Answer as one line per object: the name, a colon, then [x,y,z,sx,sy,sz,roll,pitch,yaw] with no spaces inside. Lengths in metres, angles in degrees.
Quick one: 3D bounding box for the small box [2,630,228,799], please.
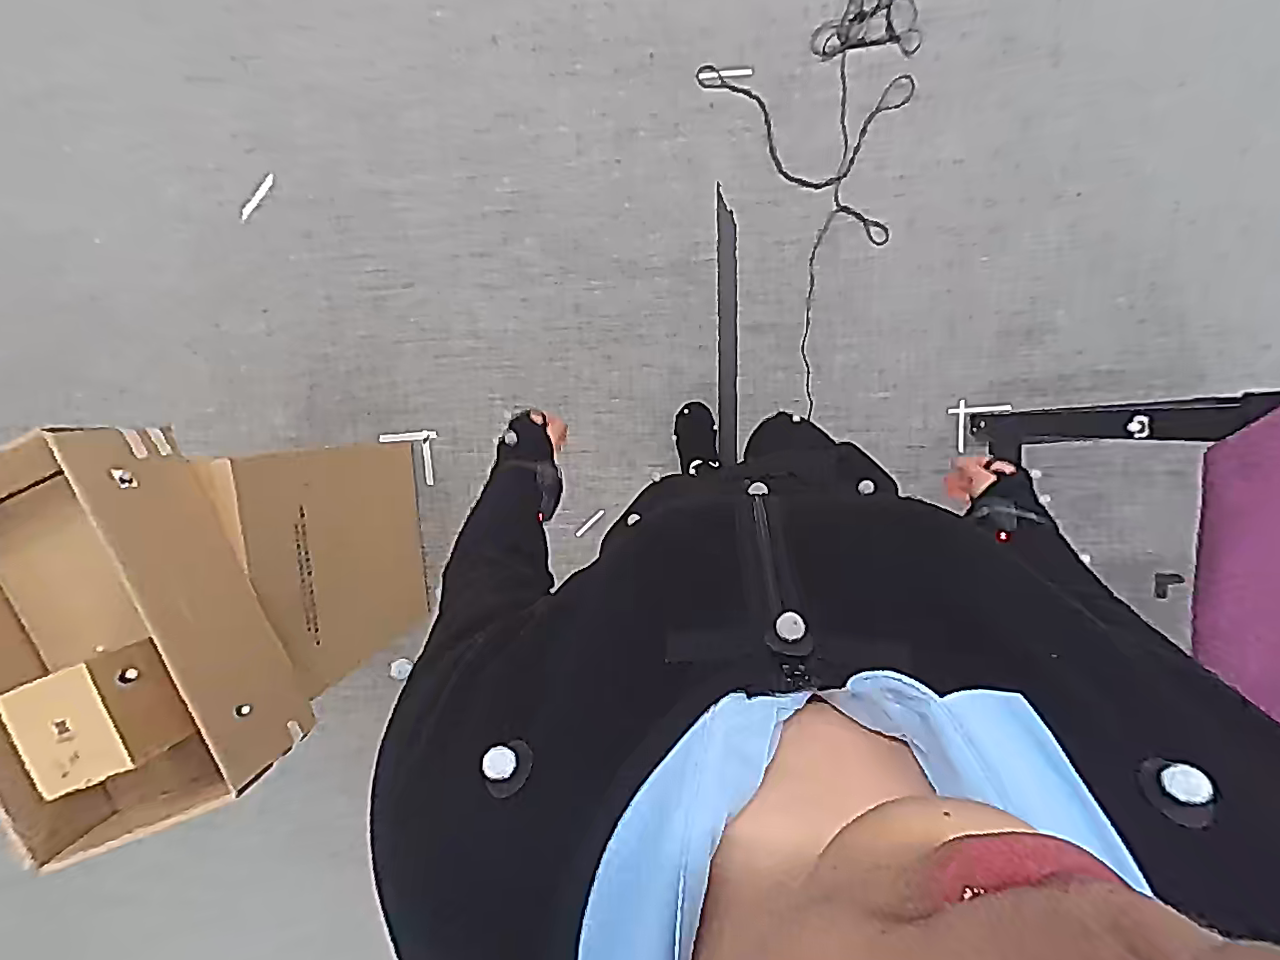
small box: [-0.831,0.362,0.875,0.168,0.176,0.179,-22,94,6]
